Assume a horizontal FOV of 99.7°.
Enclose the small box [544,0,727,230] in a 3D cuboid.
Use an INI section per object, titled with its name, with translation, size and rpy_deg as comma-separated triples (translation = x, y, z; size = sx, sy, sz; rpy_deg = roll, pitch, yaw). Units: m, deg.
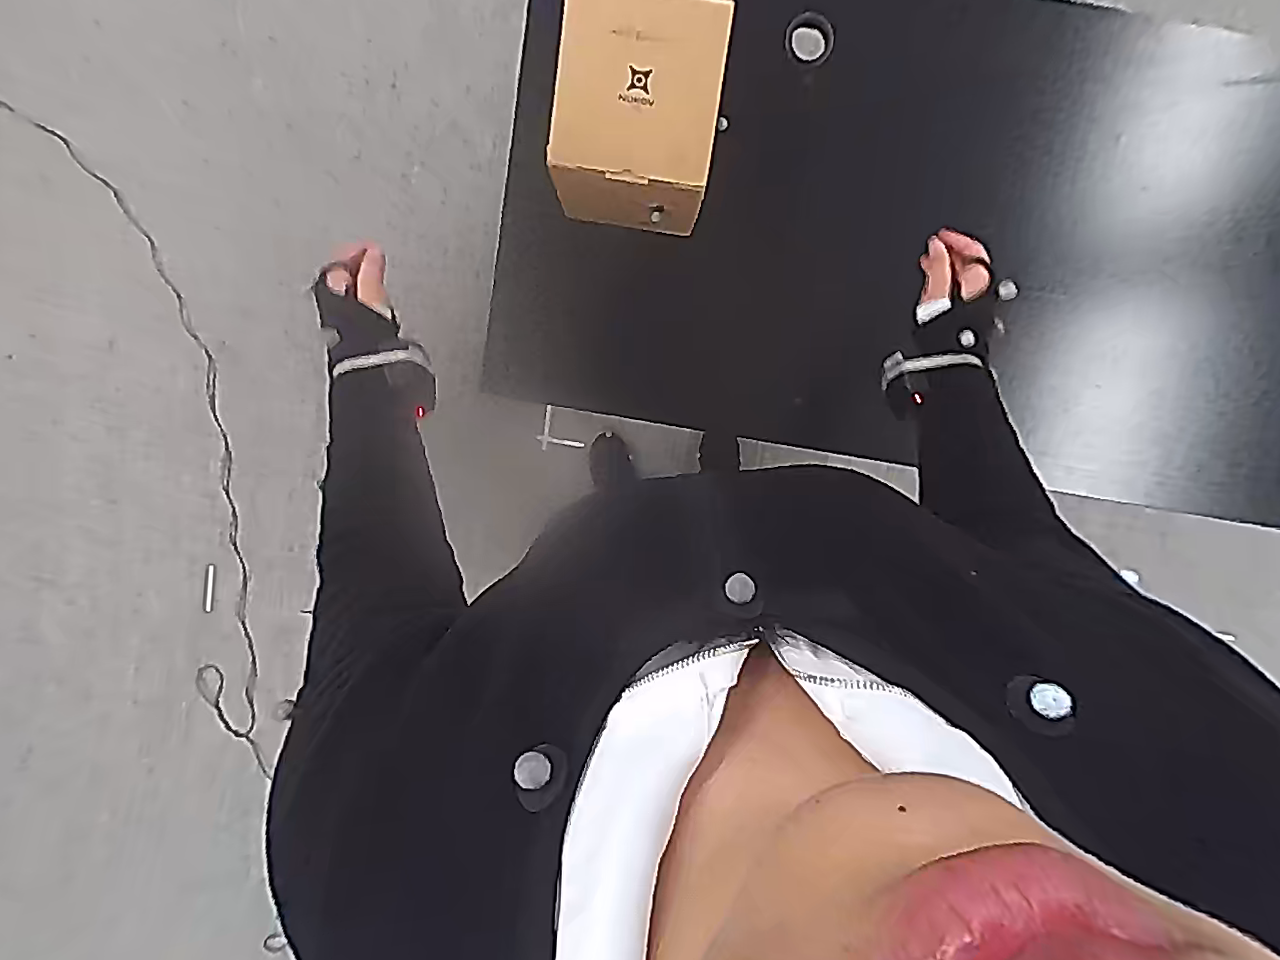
[small box]
translation = -0.008, -0.408, 0.619
size = 0.168, 0.176, 0.179
rpy_deg = 7, 98, -3
